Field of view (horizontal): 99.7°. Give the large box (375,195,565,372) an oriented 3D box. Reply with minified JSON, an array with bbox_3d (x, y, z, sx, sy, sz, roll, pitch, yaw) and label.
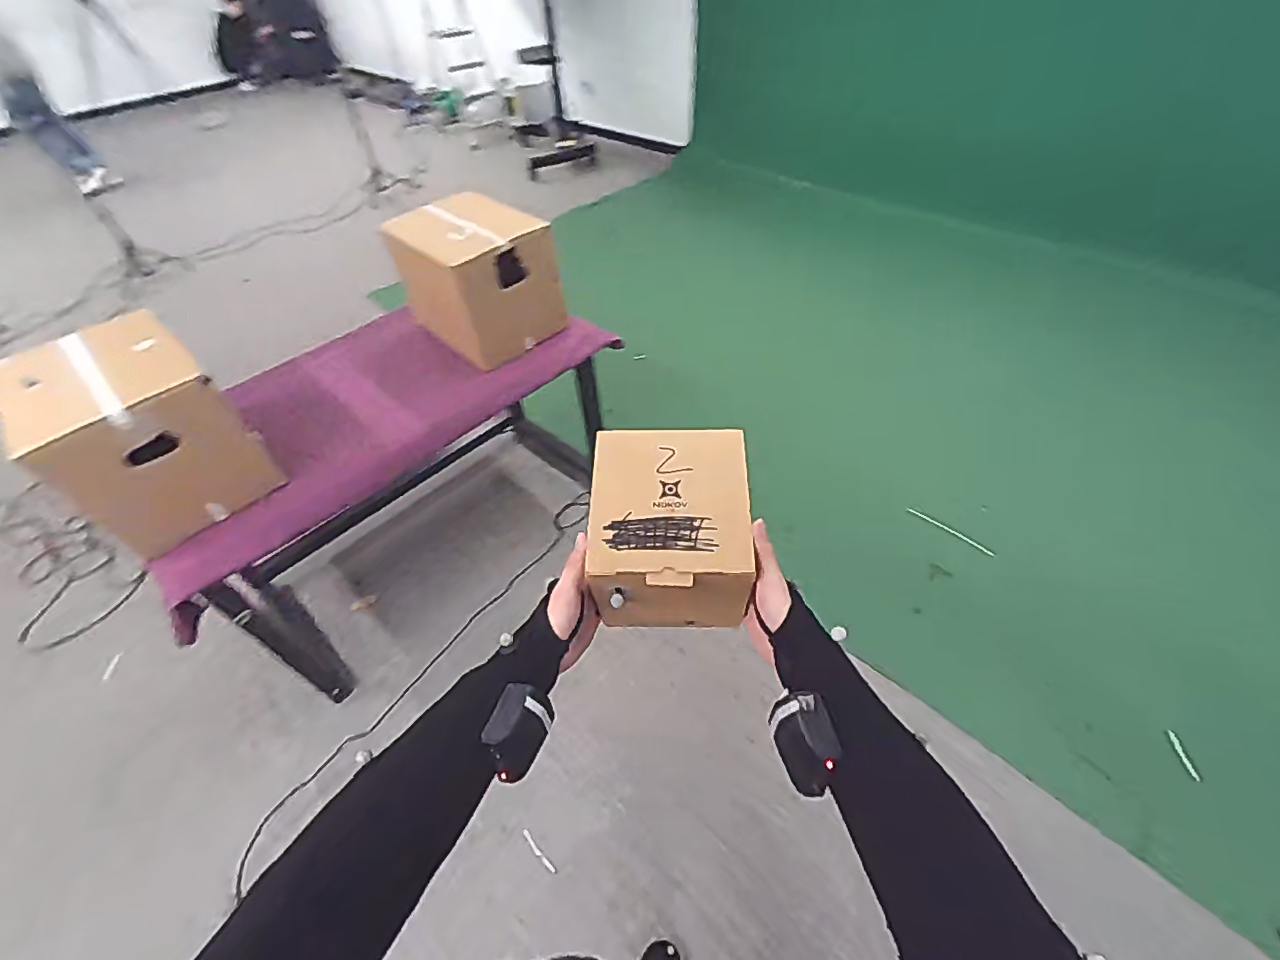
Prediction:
[{"bbox_3d":[-0.477,-0.576,1.567,0.408,0.320,0.320,35,59,29],"label":"large box"}]
